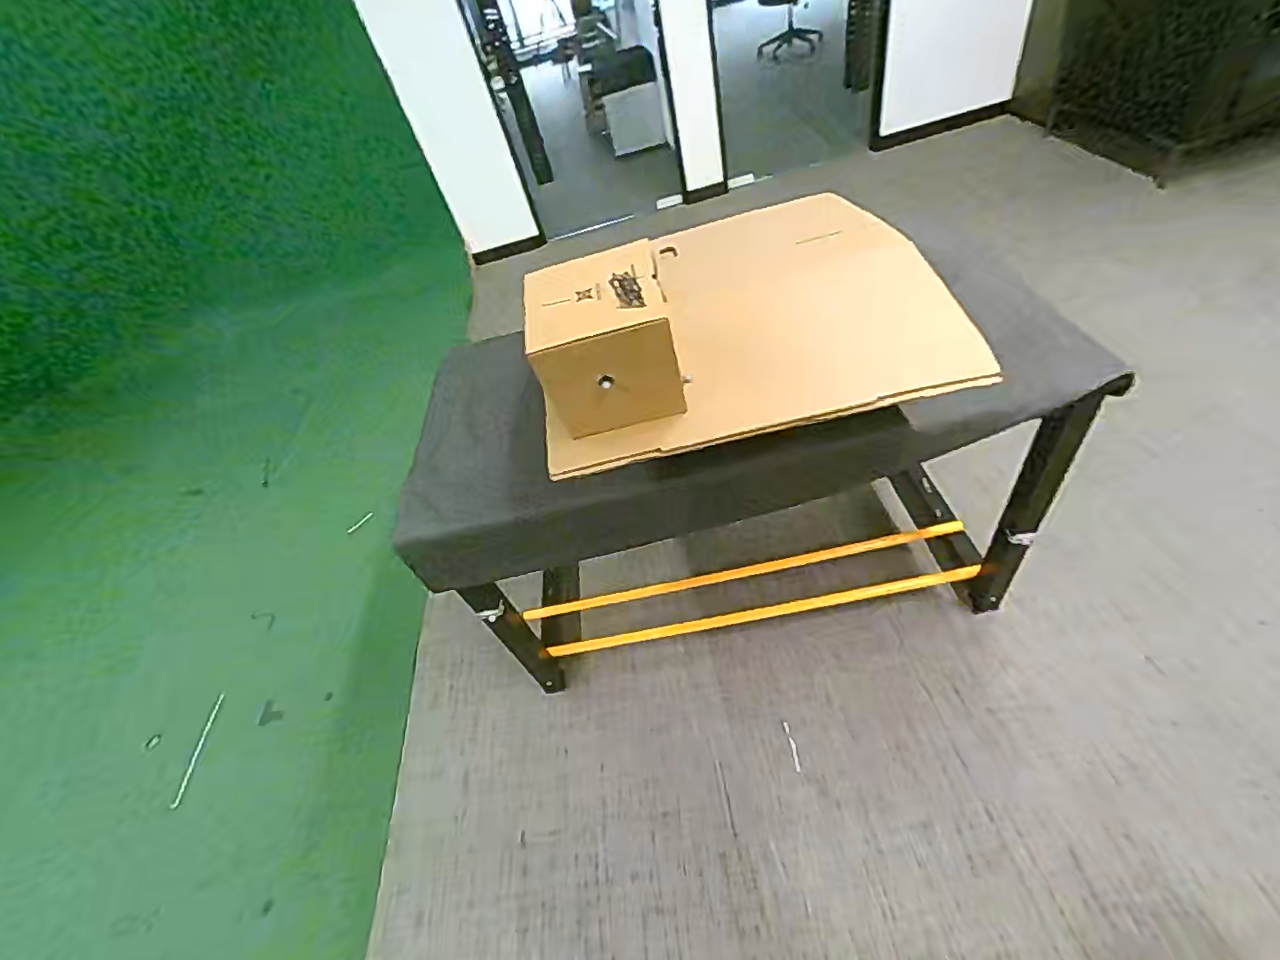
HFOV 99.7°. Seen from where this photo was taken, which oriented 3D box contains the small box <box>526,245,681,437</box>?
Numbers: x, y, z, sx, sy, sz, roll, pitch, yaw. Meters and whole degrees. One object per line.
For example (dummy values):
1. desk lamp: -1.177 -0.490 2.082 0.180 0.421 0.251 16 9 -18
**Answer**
1. small box: -0.045 -0.185 0.746 0.179 0.176 0.168 -14 54 6
